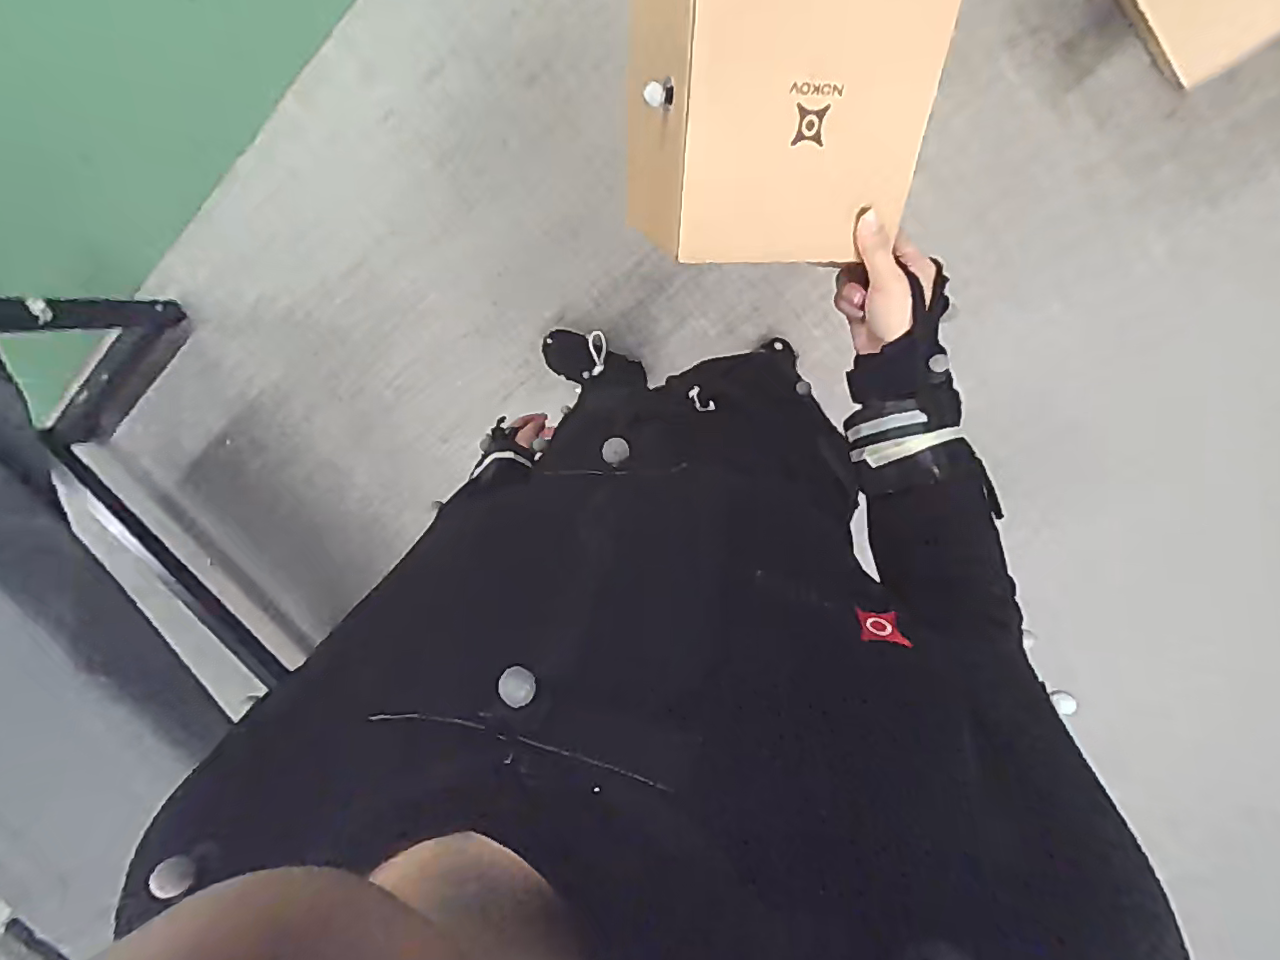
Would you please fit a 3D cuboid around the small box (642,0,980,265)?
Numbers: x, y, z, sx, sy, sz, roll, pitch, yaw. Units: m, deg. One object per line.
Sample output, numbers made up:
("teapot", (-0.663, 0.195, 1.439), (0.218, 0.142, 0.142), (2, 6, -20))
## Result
("small box", (0.098, -0.269, 0.396), (0.168, 0.176, 0.179), (-5, 125, -10))
